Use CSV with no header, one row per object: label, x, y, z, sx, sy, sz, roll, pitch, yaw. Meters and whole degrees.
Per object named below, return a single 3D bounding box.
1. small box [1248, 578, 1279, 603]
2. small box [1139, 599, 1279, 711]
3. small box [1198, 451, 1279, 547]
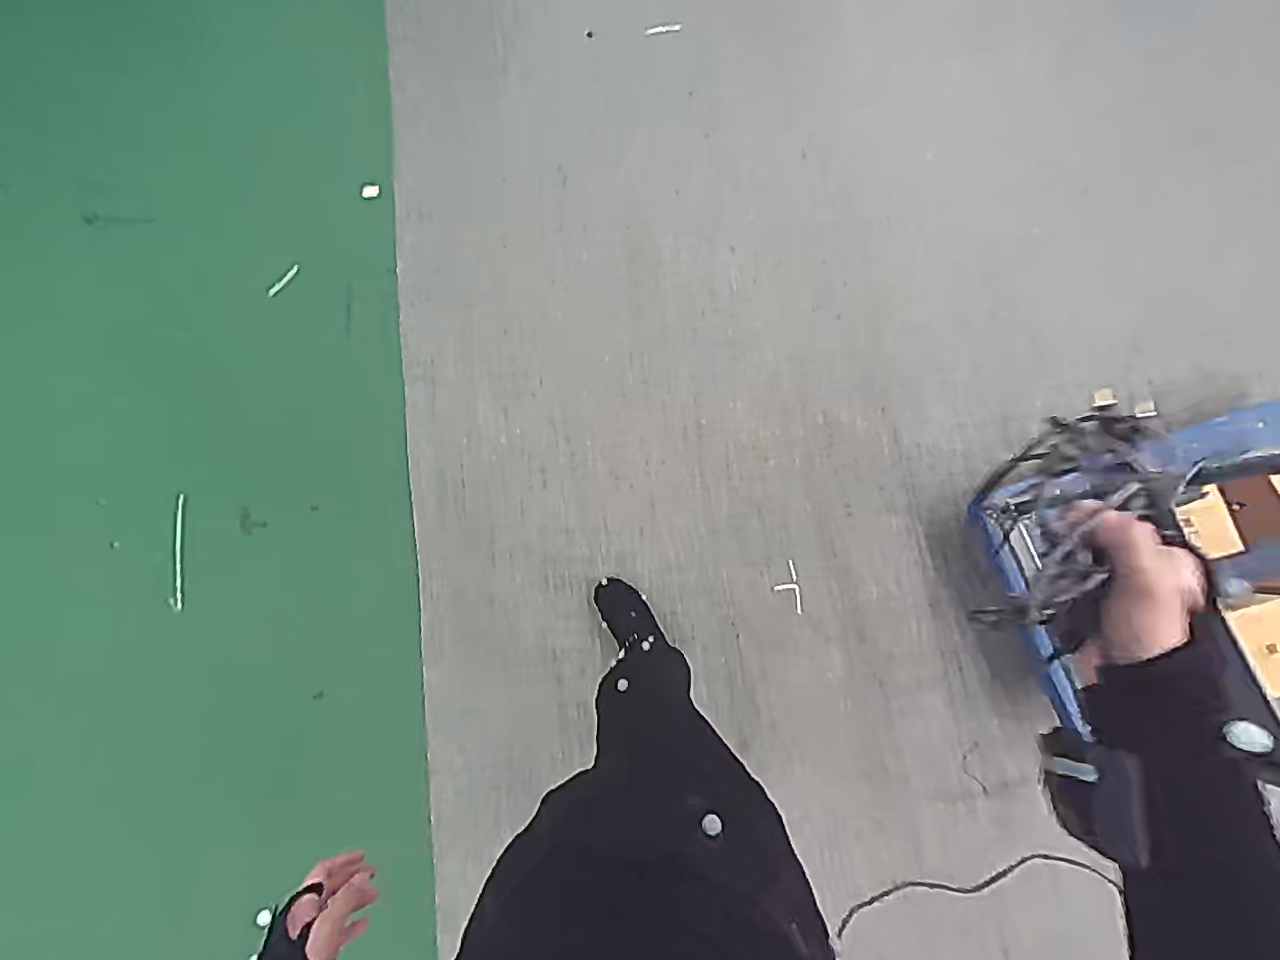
small box,1.430,0.274,1.095,0.179,0.176,0.168,-19,79,0
small box,1.190,0.344,1.096,0.179,0.176,0.168,-16,79,1
small box,1.351,0.036,1.140,0.179,0.176,0.168,-21,81,-1
